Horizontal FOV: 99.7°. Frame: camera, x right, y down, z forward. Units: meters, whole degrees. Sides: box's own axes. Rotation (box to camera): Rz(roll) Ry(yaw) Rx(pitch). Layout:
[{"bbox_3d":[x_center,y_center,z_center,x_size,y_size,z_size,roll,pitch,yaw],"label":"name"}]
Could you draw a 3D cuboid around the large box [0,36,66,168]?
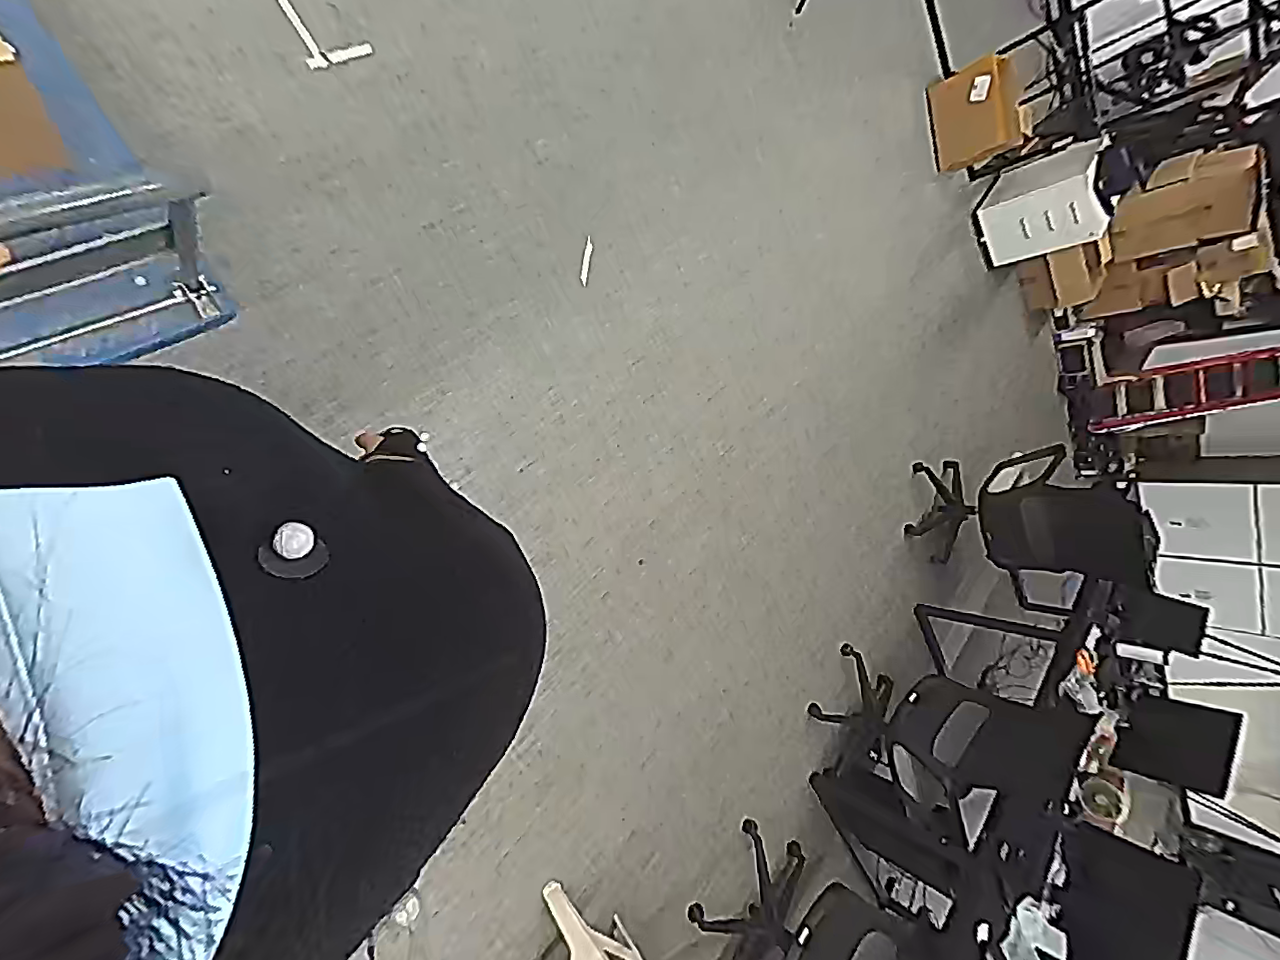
[{"bbox_3d":[-1.107,-0.589,0.679,0.408,0.320,0.320,-36,110,-30],"label":"large box"}]
